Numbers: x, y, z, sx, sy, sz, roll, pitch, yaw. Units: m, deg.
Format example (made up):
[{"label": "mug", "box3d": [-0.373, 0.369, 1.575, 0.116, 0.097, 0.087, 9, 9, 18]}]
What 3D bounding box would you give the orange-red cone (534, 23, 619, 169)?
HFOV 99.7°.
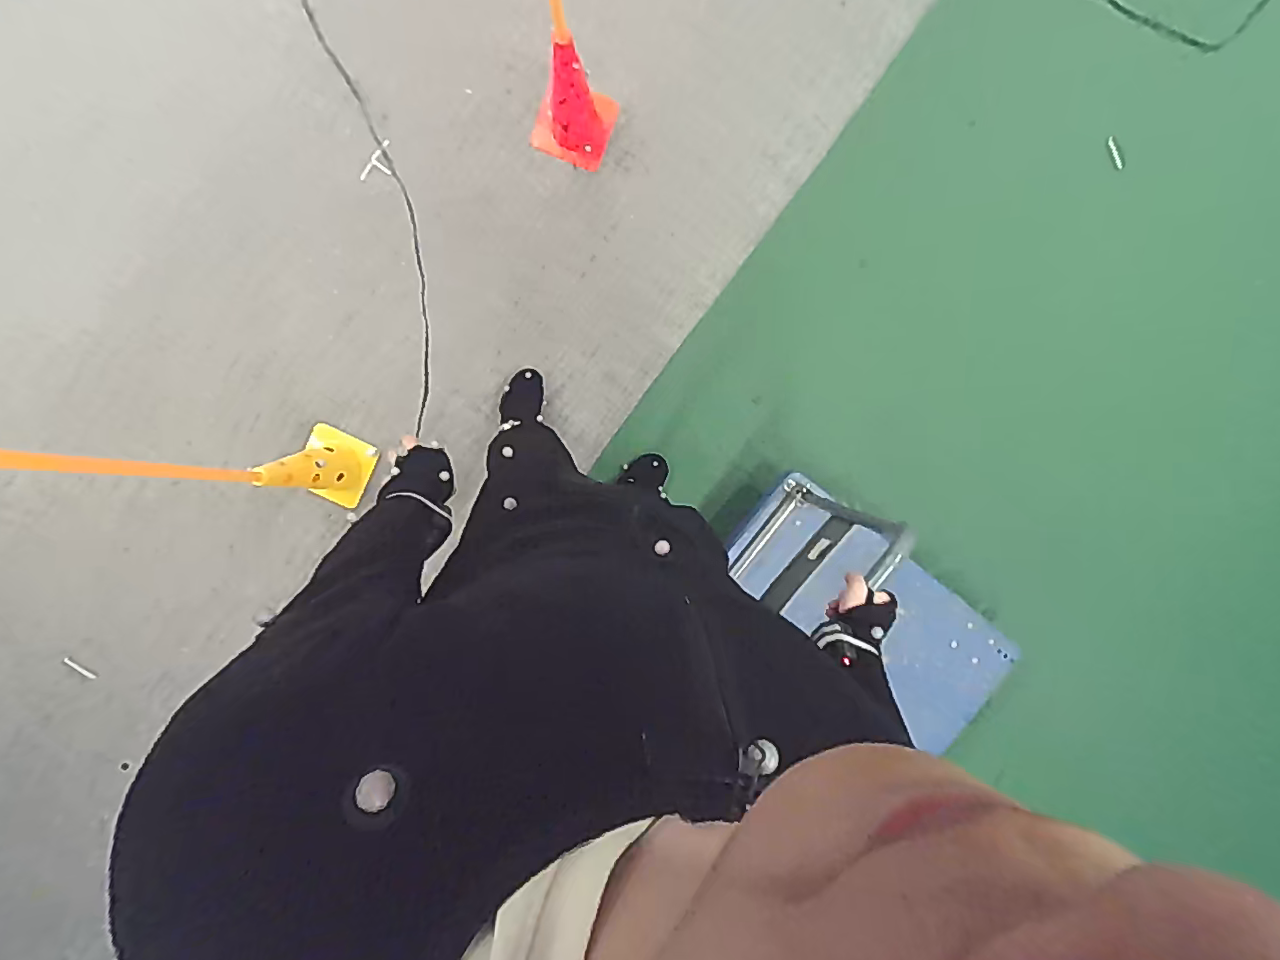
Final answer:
[{"label": "orange-red cone", "box3d": [-0.168, -0.973, 1.327, 0.198, 0.360, 0.199, 22, 93, -5]}]
